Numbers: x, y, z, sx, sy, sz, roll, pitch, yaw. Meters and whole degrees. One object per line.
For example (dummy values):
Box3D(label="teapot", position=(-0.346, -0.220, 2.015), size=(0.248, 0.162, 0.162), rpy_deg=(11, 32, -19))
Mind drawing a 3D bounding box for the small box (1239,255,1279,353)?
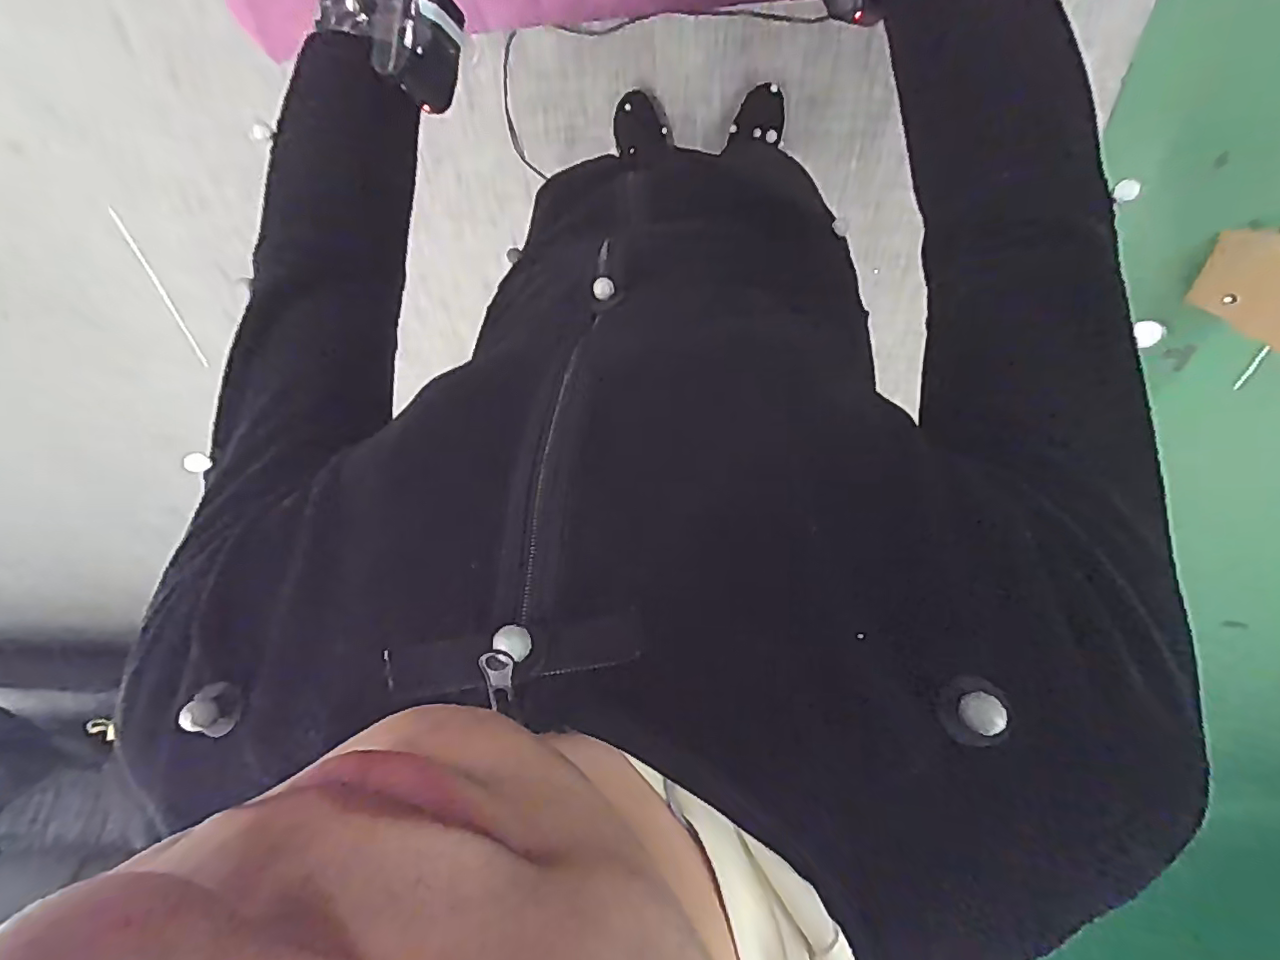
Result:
Box3D(label="small box", position=(1.478, -0.382, 1.166), size=(0.168, 0.176, 0.179), rpy_deg=(-1, 128, 7))

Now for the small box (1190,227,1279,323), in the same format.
Box3D(label="small box", position=(1.489, -0.489, 1.288), size=(0.168, 0.176, 0.179), rpy_deg=(1, 129, 5))
